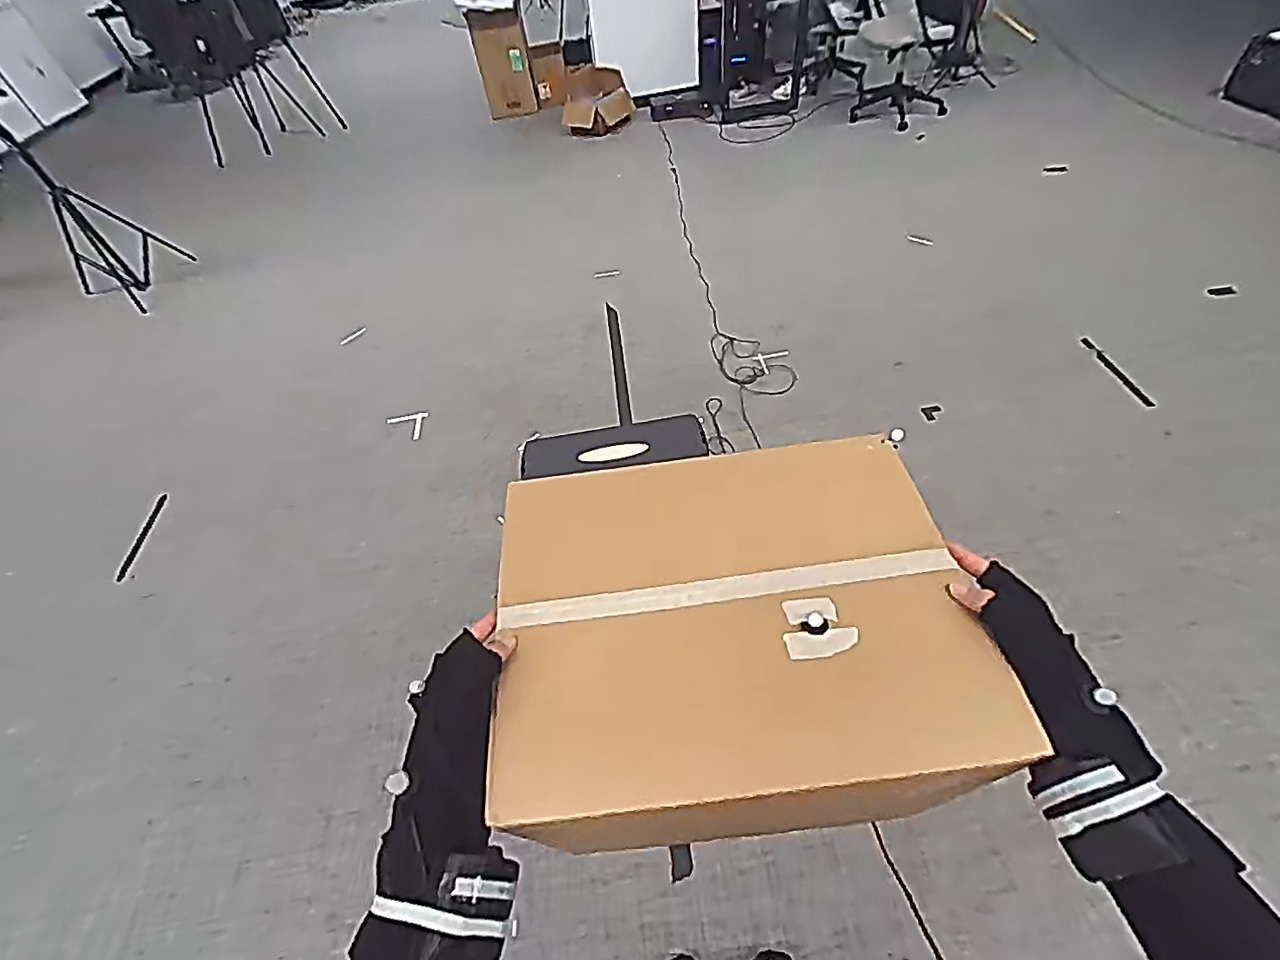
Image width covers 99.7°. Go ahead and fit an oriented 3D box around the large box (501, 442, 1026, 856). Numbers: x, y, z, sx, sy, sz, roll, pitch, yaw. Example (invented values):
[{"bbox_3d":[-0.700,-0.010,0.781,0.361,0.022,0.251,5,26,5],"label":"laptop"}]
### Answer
[{"bbox_3d":[0.087,0.197,0.605,0.408,0.320,0.320,-8,51,0],"label":"large box"}]
